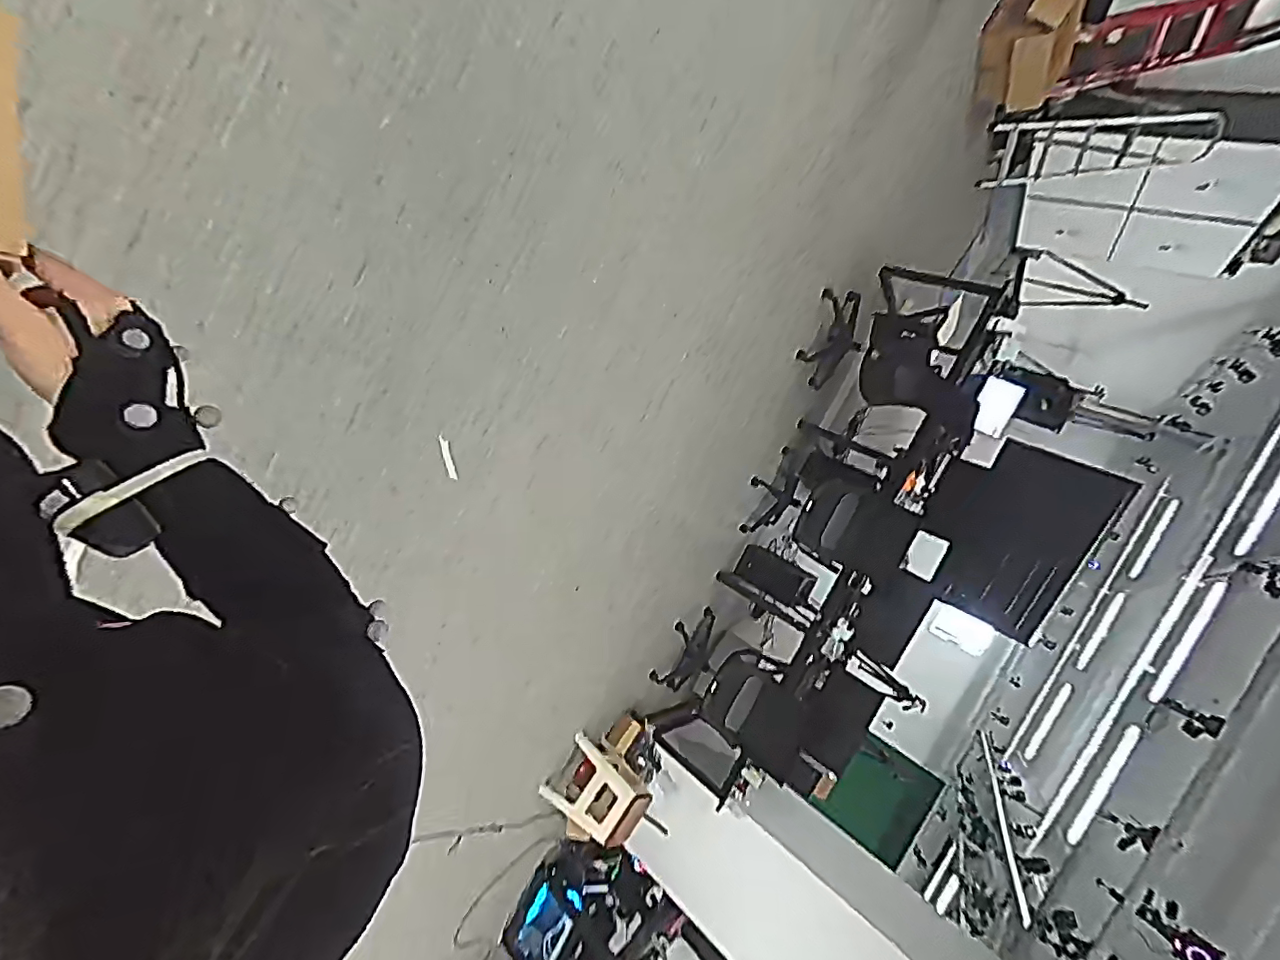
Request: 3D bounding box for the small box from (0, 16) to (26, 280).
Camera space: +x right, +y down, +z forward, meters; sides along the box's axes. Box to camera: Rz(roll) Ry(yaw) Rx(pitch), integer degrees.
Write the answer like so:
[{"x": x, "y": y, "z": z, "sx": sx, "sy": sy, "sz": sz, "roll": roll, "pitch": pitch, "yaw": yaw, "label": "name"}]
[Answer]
[{"x": -0.486, "y": -0.188, "z": 0.295, "sx": 0.168, "sy": 0.176, "sz": 0.179, "roll": 3, "pitch": 74, "yaw": -63, "label": "small box"}]
